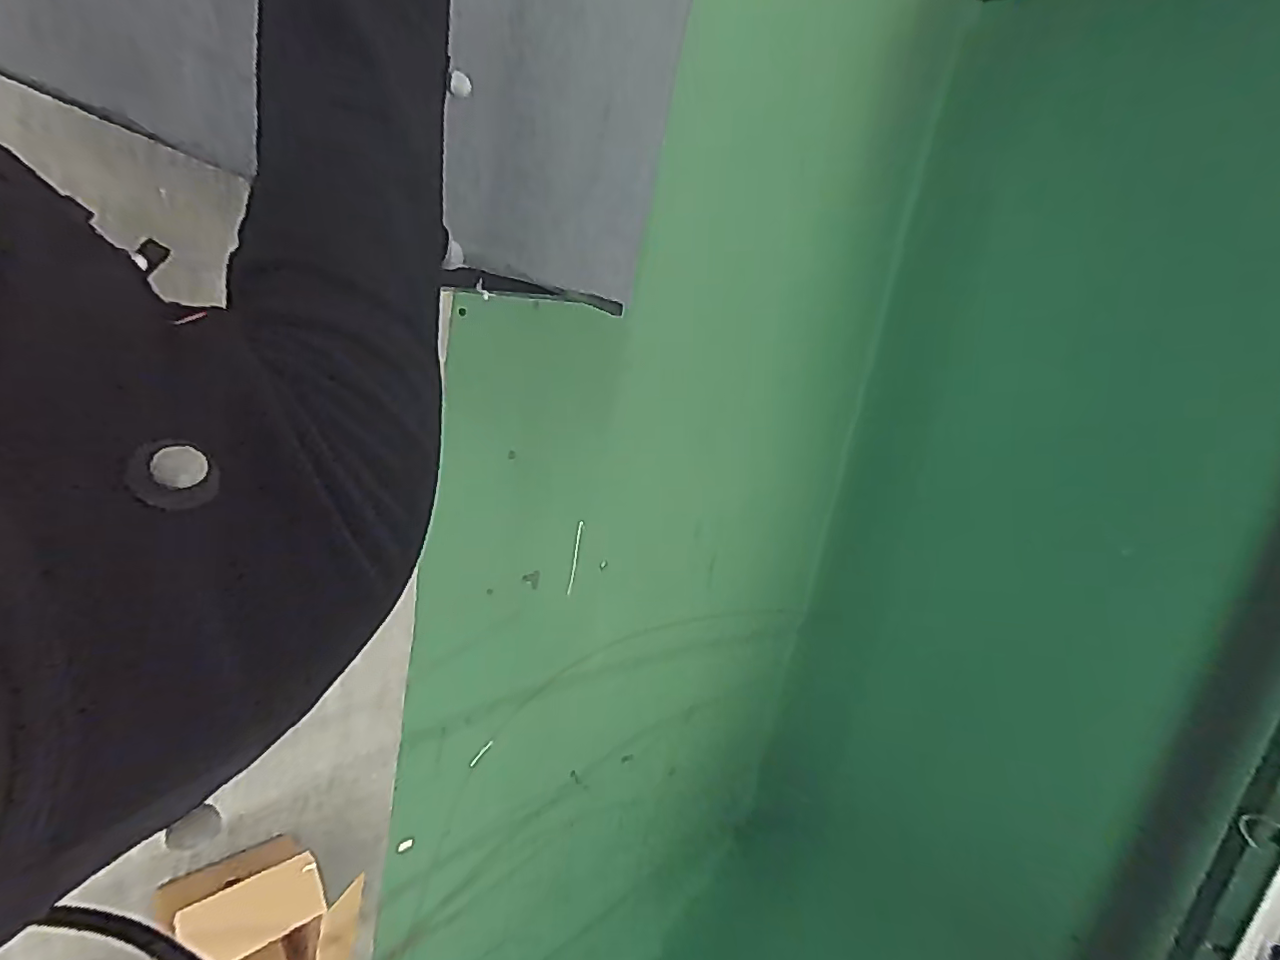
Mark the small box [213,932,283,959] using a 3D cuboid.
[{"bbox_3d":[-0.999,1.295,1.338,0.179,0.176,0.168,5,102,-50],"label":"small box"}]
